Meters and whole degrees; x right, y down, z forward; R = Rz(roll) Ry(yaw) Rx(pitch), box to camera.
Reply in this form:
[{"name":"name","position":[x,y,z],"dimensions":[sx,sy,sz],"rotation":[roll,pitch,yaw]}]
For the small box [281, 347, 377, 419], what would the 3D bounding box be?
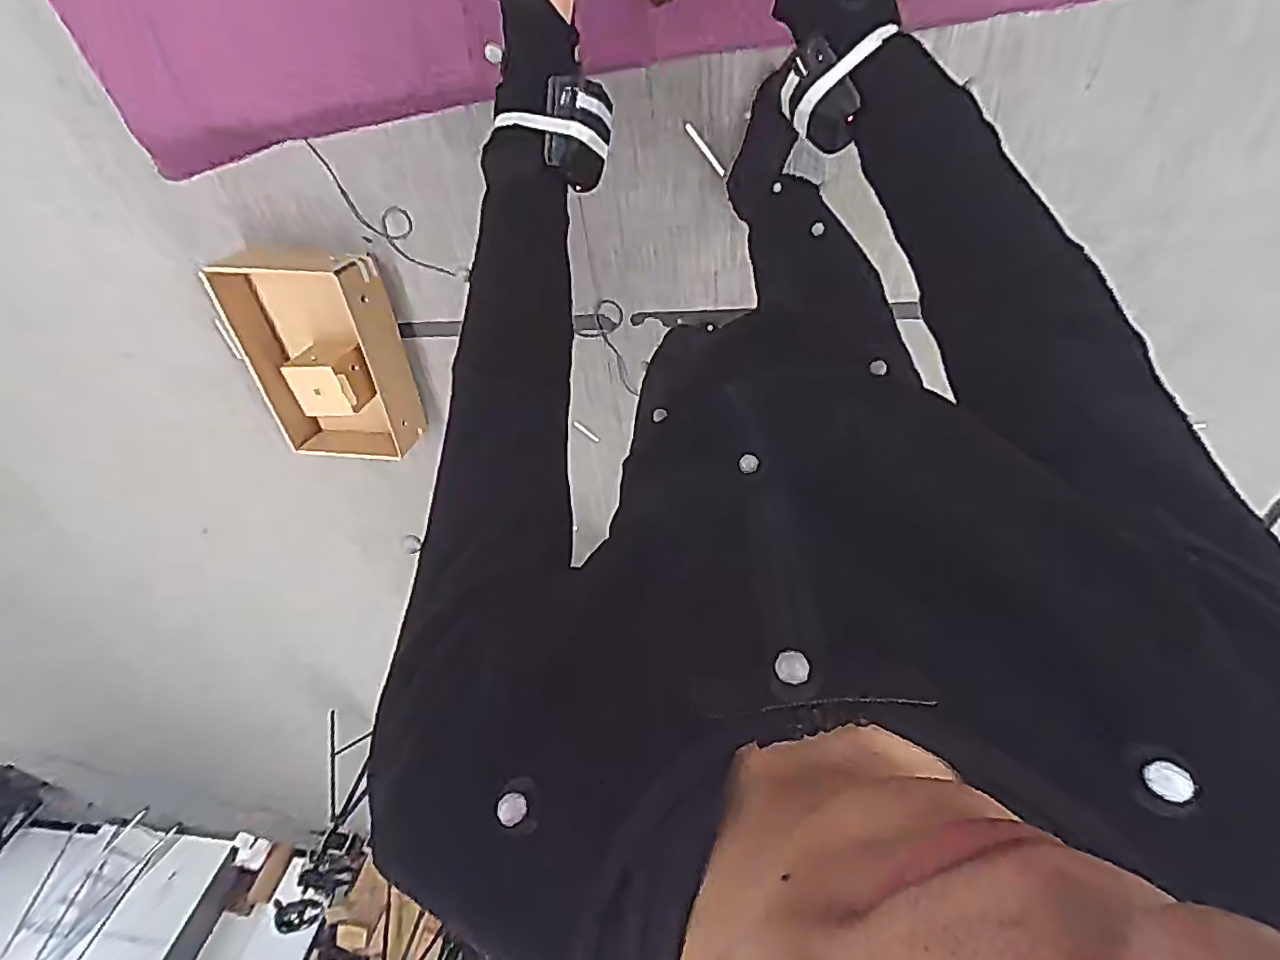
[{"name":"small box","position":[-0.945,-0.302,1.669],"dimensions":[0.179,0.176,0.168],"rotation":[0,128,9]}]
